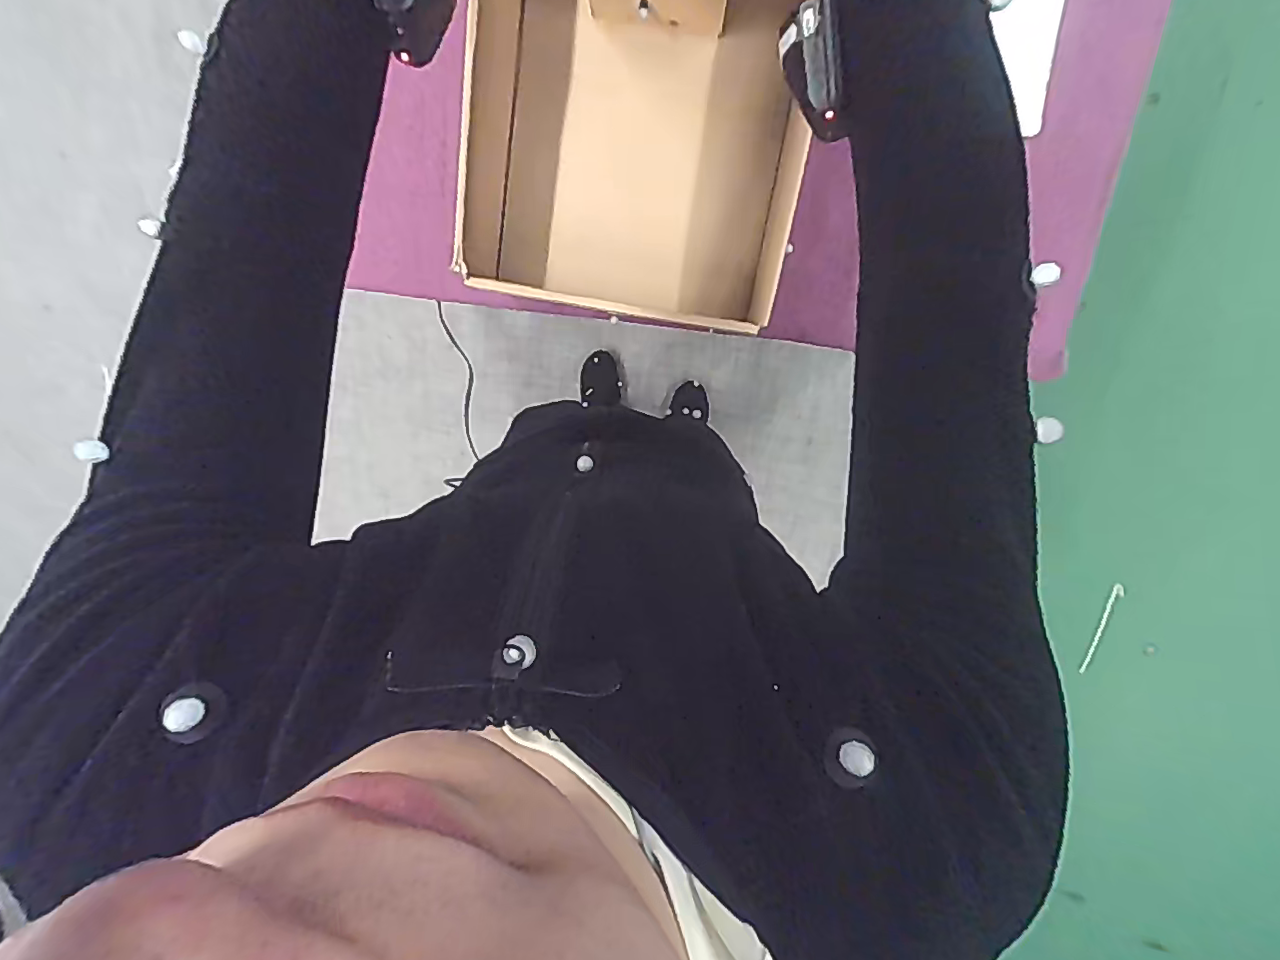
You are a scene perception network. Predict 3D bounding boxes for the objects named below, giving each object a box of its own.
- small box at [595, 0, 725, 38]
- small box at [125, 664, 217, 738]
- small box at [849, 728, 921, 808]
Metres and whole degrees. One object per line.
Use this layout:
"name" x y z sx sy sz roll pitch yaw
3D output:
"small box" 0.026 -0.644 0.601 0.168 0.176 0.179 7 108 1
"small box" -1.606 0.757 1.865 0.179 0.176 0.168 4 104 2
"small box" 0.791 0.931 1.760 0.168 0.176 0.179 -3 104 4
